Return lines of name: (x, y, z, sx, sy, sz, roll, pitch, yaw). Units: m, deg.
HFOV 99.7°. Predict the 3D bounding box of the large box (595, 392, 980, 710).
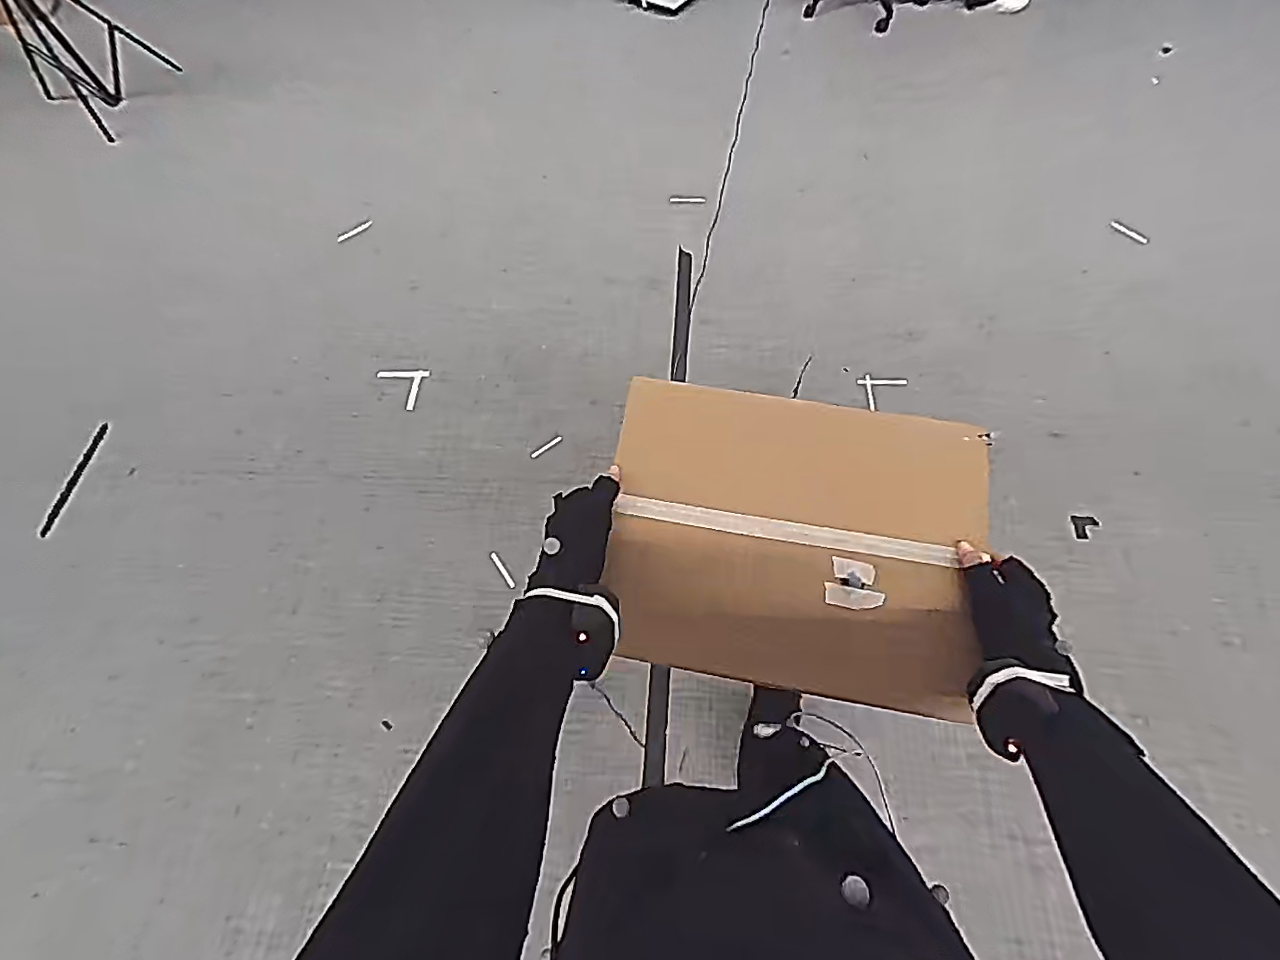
large box: (0.173, 0.107, 0.742, 0.408, 0.320, 0.320, 9, 73, 5)
